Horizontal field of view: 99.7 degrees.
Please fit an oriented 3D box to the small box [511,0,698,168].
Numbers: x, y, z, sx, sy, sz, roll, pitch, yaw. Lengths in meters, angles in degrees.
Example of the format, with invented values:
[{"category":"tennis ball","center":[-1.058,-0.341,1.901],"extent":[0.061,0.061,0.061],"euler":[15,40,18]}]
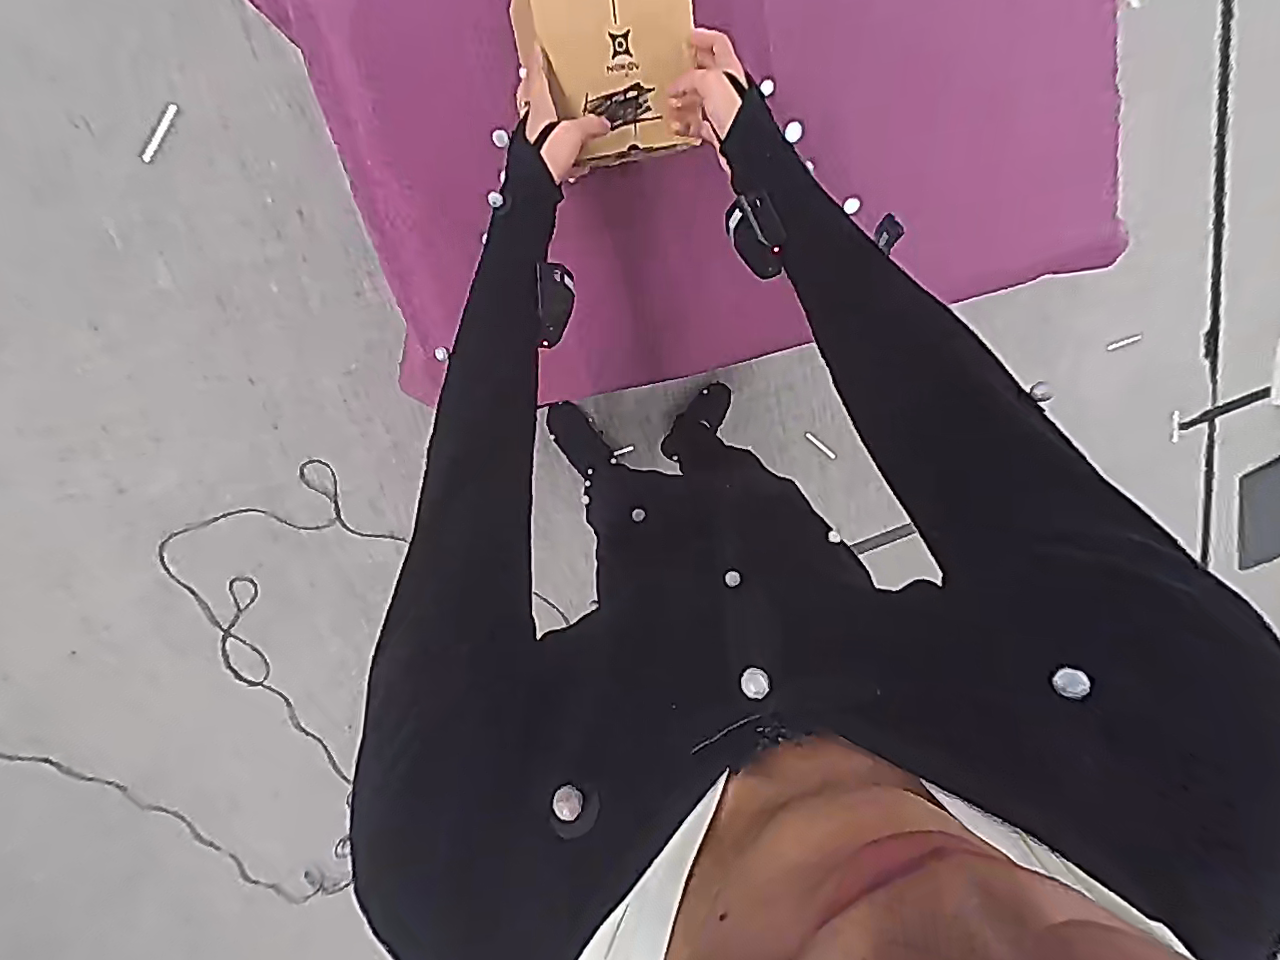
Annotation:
[{"category":"small box","center":[-0.044,-0.471,0.622],"extent":[0.168,0.176,0.179],"euler":[-15,117,-10]}]
